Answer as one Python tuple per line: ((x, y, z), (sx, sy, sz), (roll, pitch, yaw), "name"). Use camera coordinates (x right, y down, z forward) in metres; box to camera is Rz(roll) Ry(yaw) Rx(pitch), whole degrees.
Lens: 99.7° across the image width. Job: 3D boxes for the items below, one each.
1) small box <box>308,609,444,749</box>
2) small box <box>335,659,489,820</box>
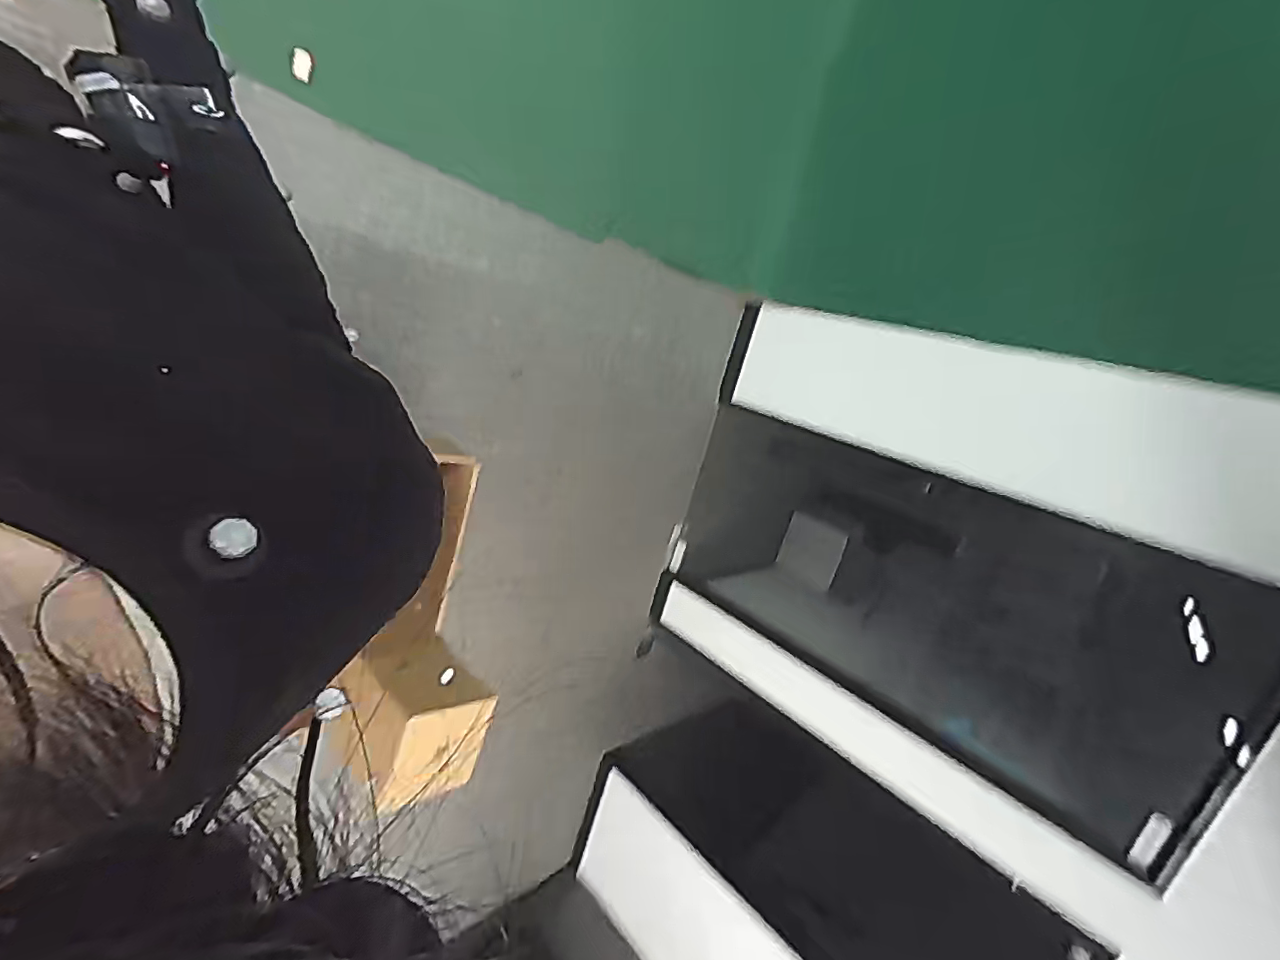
((-0.509, 0.368, 1.033), (0.168, 0.176, 0.179), (10, 102, -50), "small box")
((-0.397, 0.428, 0.933), (0.168, 0.176, 0.179), (12, 102, -51), "small box")
